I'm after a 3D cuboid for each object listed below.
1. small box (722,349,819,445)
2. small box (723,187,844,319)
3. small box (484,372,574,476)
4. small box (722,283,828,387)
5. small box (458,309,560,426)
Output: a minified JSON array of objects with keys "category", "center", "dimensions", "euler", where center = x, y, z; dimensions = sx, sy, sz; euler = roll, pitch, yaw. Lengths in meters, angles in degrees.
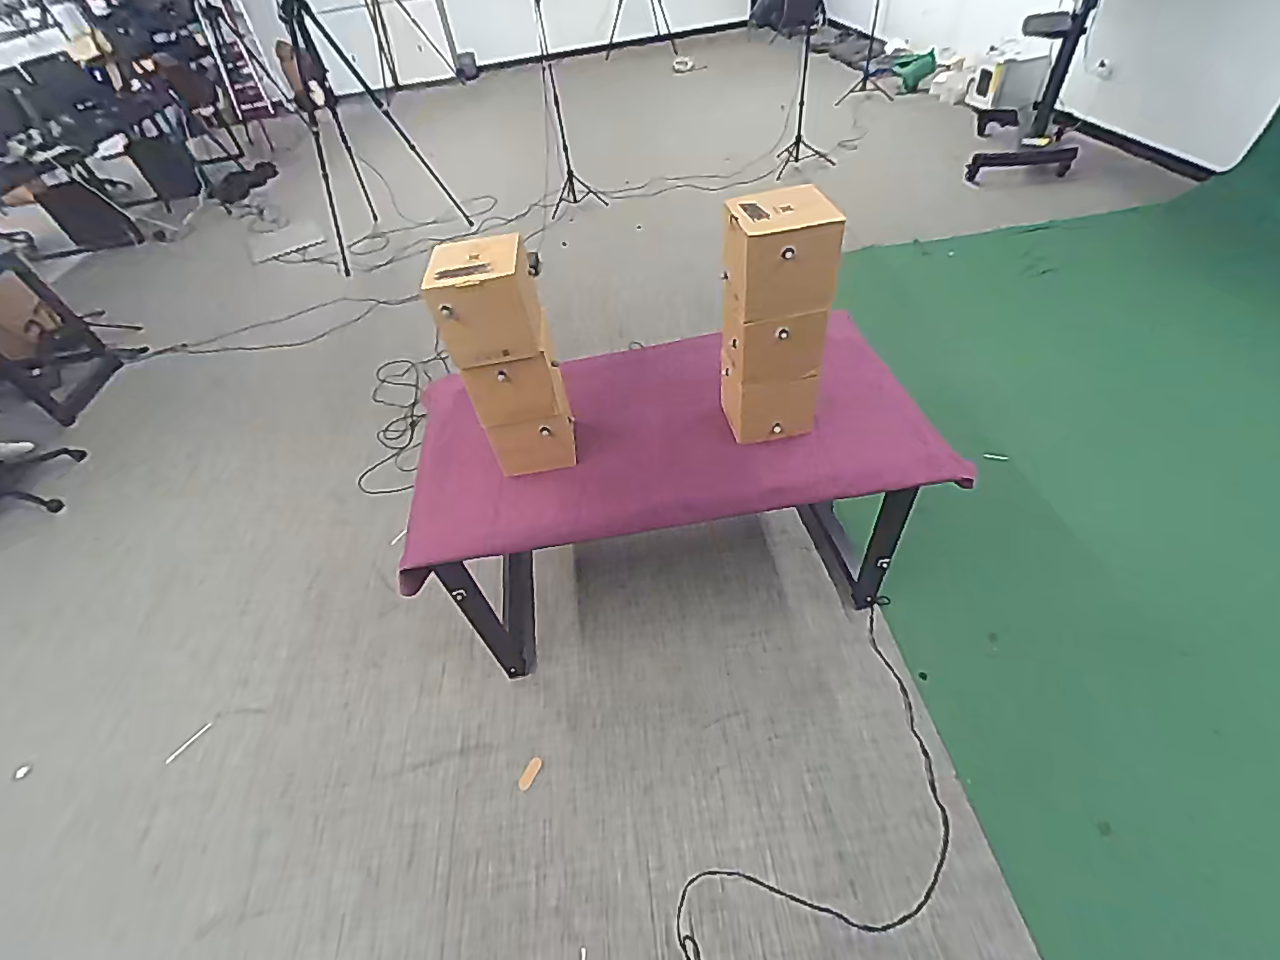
[{"category":"small box","center":[0.296,-0.206,1.267],"dimensions":[0.179,0.176,0.168],"euler":[-11,47,-1]},{"category":"small box","center":[0.263,-0.427,1.028],"dimensions":[0.179,0.176,0.168],"euler":[-11,49,-1]},{"category":"small box","center":[-0.254,-0.132,1.281],"dimensions":[0.179,0.176,0.168],"euler":[-9,47,-1]},{"category":"small box","center":[0.279,-0.316,1.148],"dimensions":[0.179,0.176,0.168],"euler":[-10,48,0]},{"category":"small box","center":[-0.271,-0.237,1.160],"dimensions":[0.179,0.176,0.168],"euler":[-10,48,0]}]
